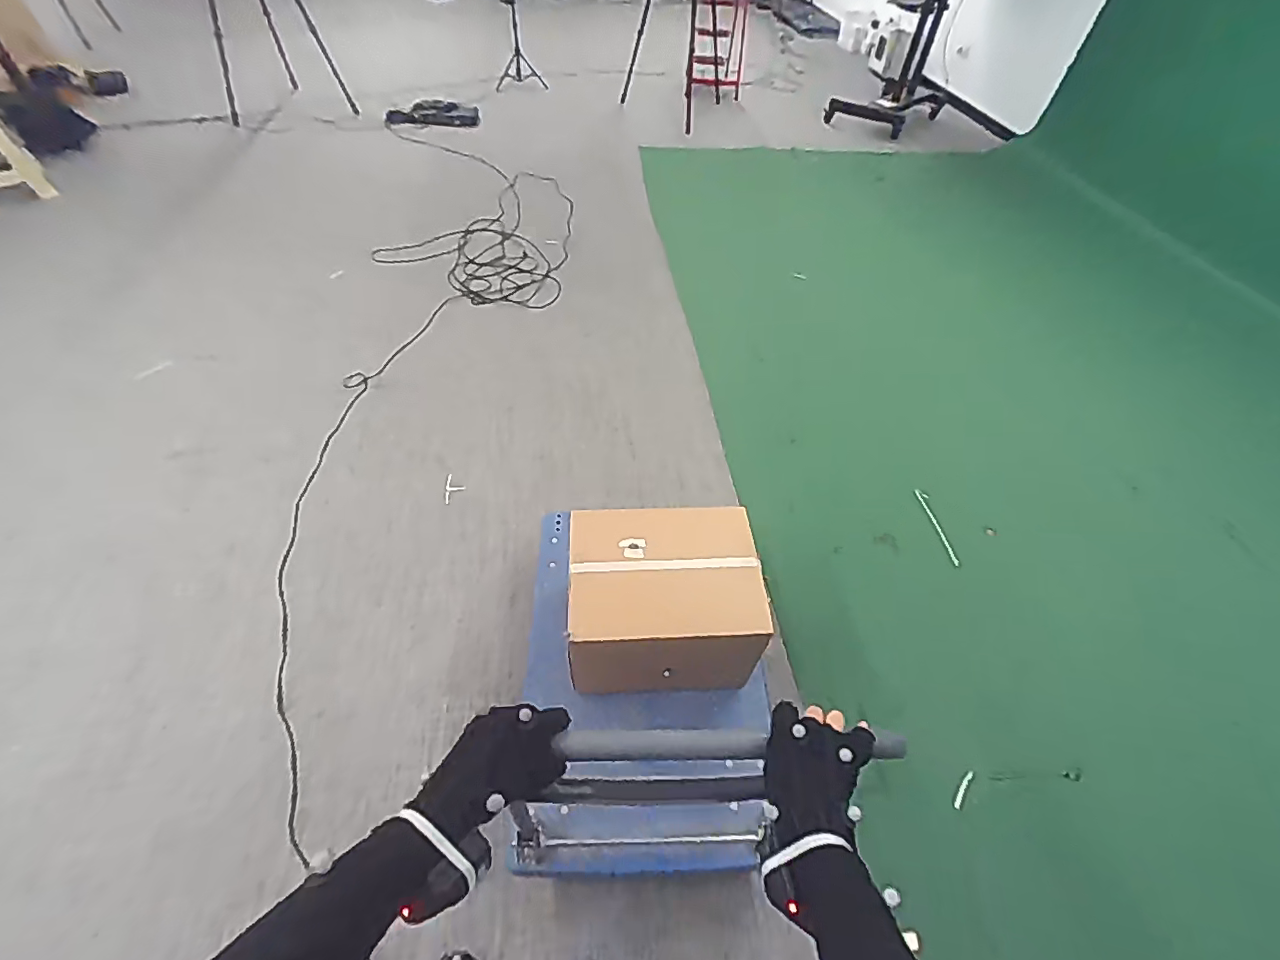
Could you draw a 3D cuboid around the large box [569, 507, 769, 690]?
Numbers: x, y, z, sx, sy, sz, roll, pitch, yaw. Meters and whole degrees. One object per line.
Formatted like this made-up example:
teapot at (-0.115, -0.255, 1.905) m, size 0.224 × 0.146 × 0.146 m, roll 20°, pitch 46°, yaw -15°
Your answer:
large box at (0.046, 0.282, 1.270) m, size 0.408 × 0.320 × 0.320 m, roll -2°, pitch 50°, yaw -4°
